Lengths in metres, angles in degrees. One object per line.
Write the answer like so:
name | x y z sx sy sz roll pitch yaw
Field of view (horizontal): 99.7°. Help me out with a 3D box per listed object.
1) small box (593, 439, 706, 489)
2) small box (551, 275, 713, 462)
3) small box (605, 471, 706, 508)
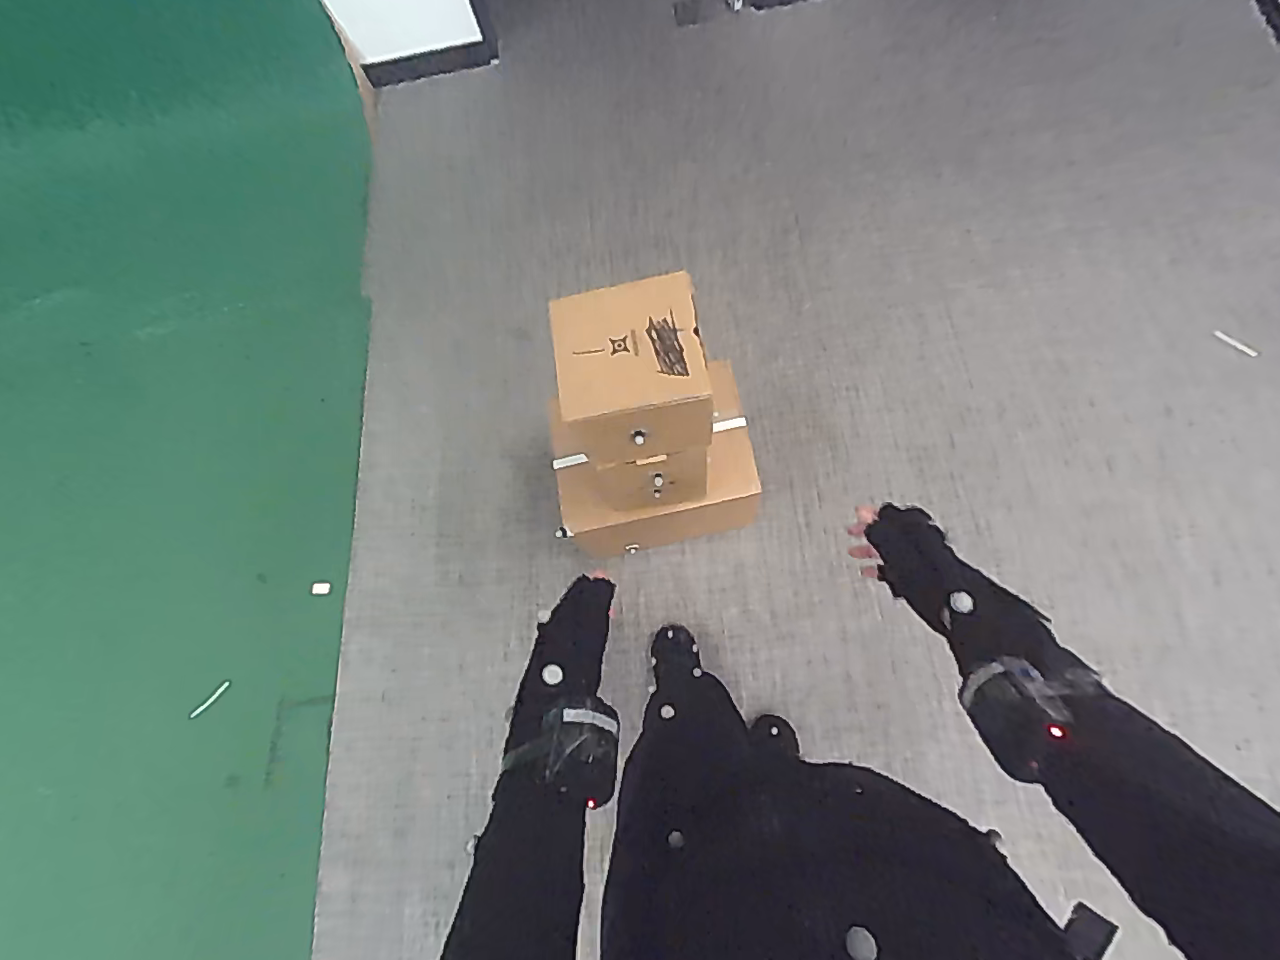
small box | 0.011 -0.090 0.863 0.168 0.176 0.179 -11 74 4
small box | -0.004 -0.133 0.704 0.179 0.176 0.168 -10 73 6
small box | 0.028 -0.051 1.020 0.179 0.176 0.168 -9 74 4
